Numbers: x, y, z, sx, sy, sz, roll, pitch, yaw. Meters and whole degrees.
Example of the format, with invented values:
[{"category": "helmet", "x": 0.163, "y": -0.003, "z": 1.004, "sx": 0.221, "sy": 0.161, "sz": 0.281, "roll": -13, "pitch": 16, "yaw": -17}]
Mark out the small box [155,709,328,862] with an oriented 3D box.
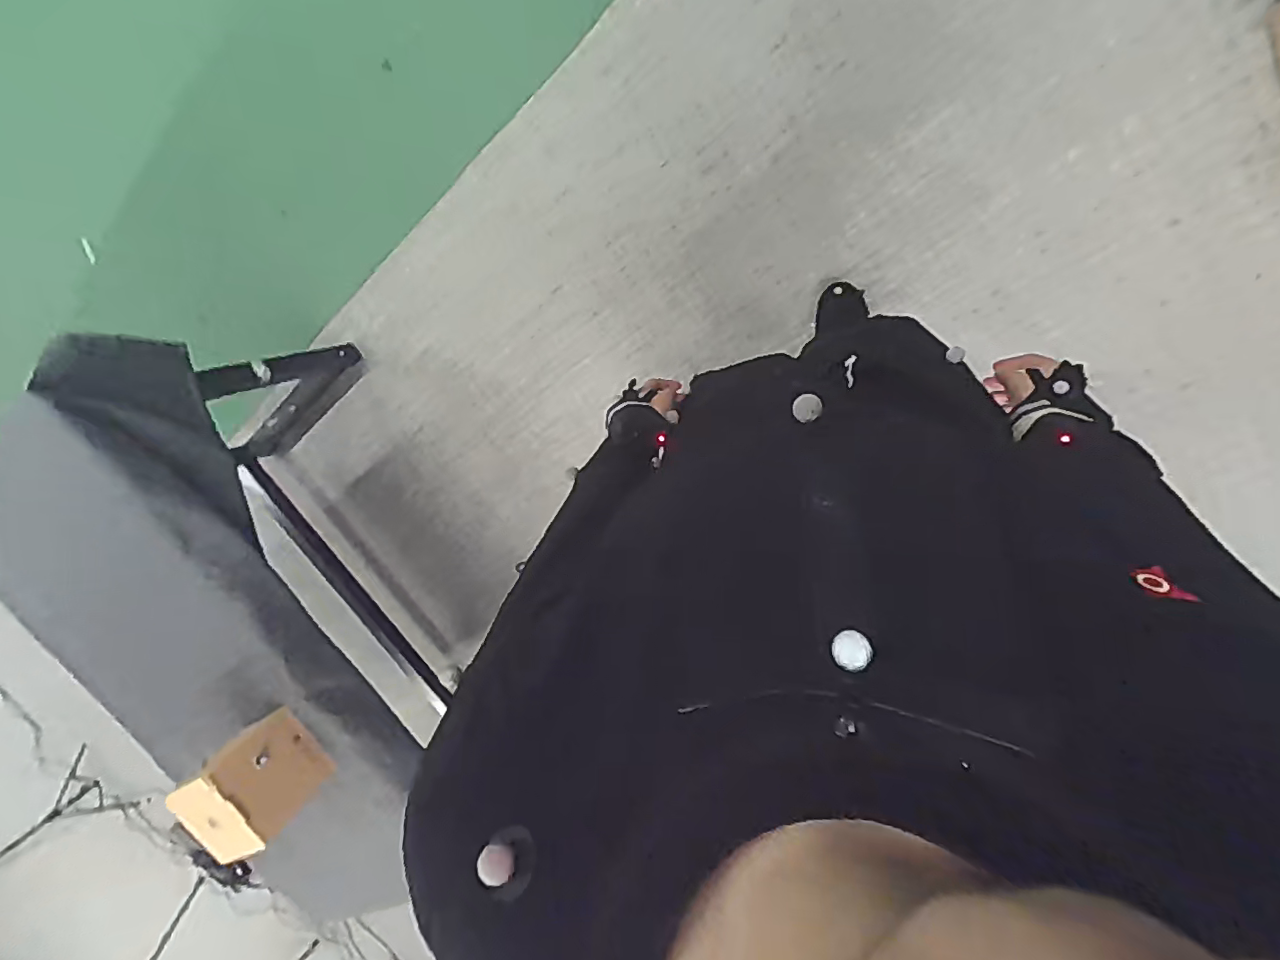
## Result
[{"category": "small box", "x": -0.723, "y": 0.558, "z": 1.001, "sx": 0.179, "sy": 0.176, "sz": 0.168, "roll": -31, "pitch": 99, "yaw": 26}]
